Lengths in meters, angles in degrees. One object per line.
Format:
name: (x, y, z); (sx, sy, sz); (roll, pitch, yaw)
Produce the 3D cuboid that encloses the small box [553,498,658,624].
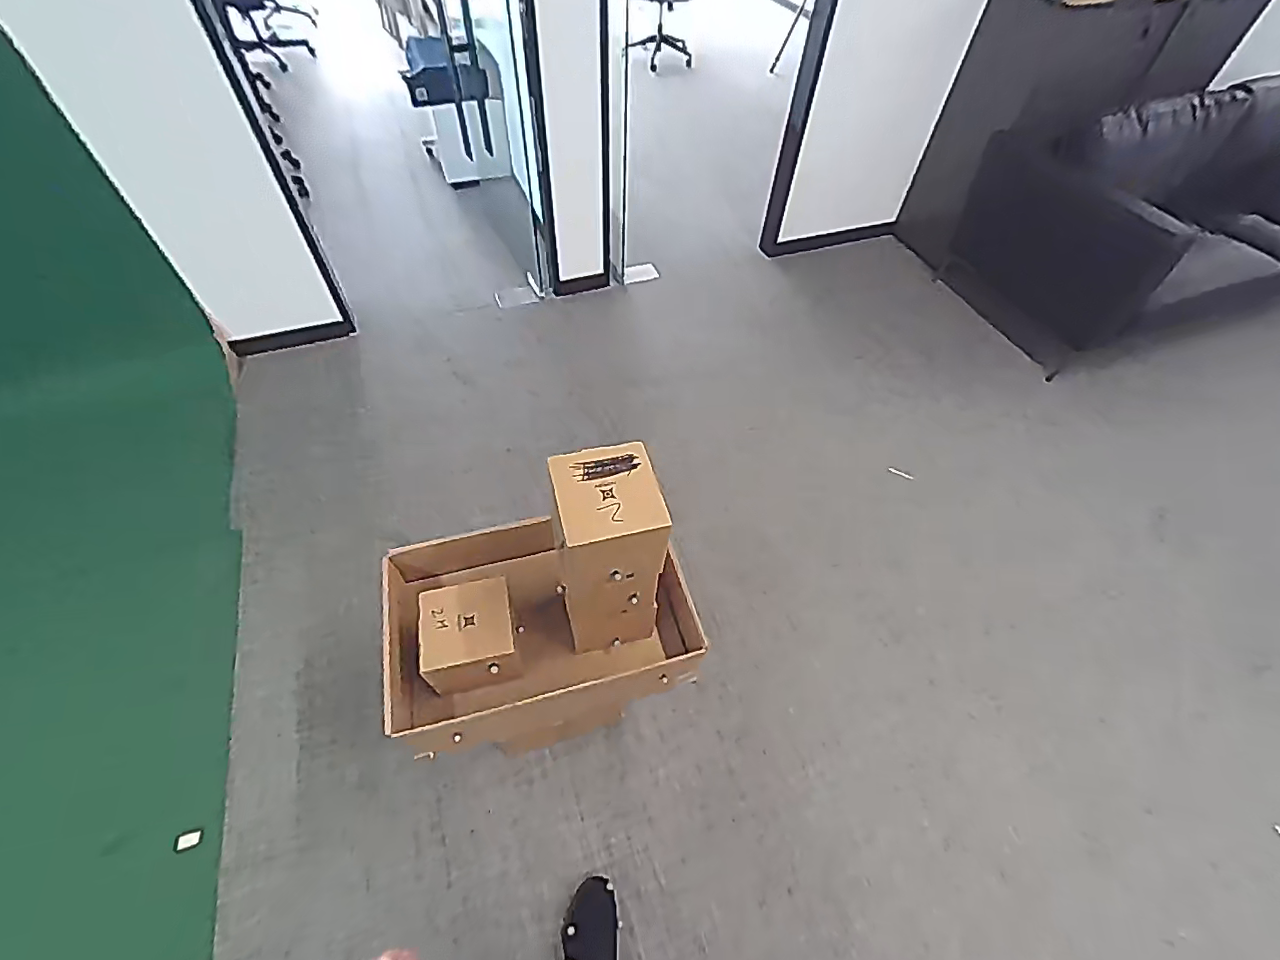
small box: (-0.068, 0.164, 1.050); (0.168, 0.176, 0.179); (-11, 54, -12)
